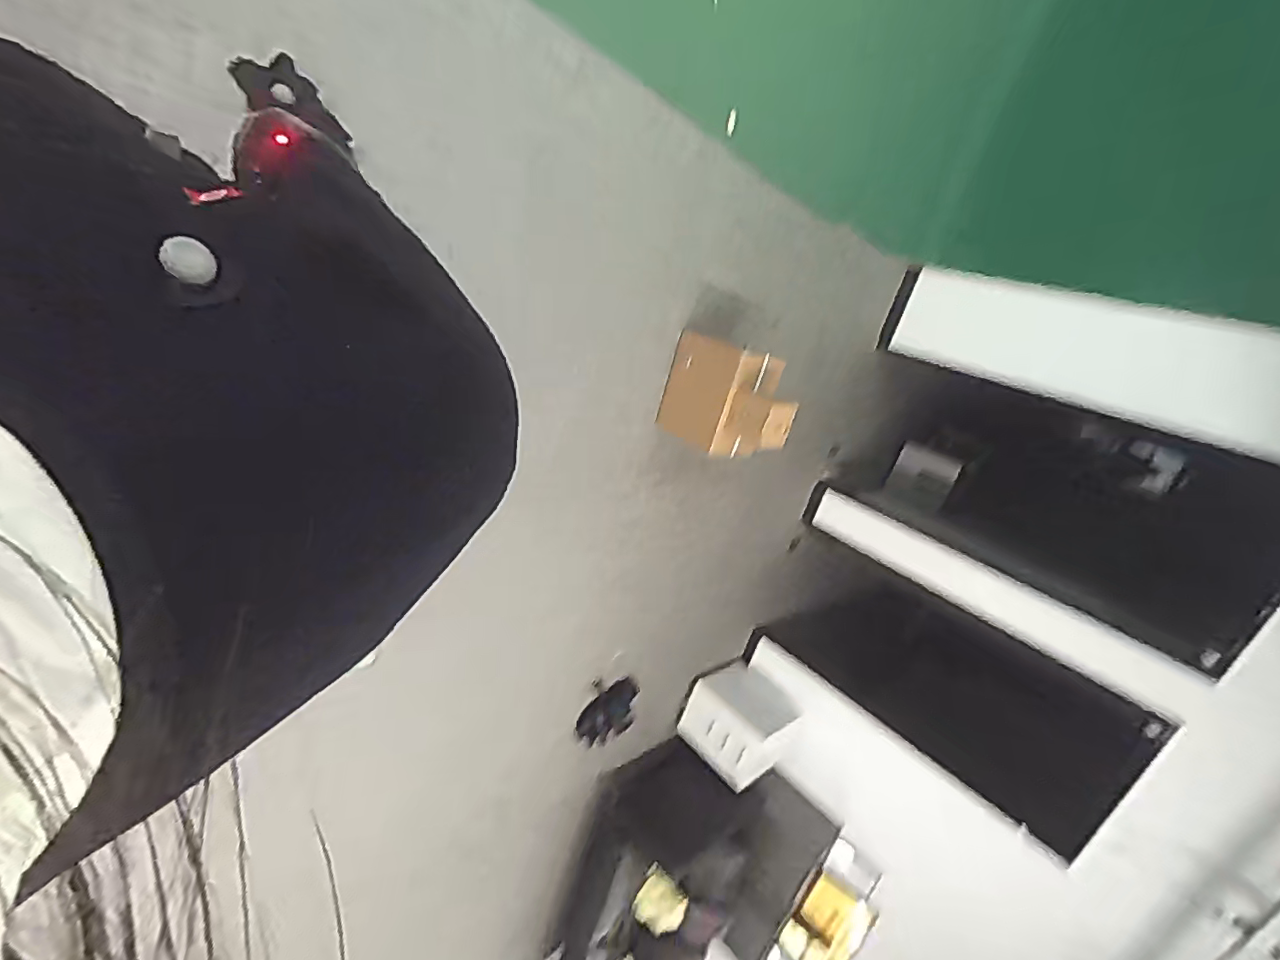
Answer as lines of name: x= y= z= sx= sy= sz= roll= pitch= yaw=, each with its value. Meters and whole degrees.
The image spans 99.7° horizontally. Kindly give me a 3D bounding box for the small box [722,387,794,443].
small box: x=0.435 y=-0.243 z=2.015 sx=0.179 sy=0.176 sz=0.168 roll=-6 pitch=120 yaw=-44
